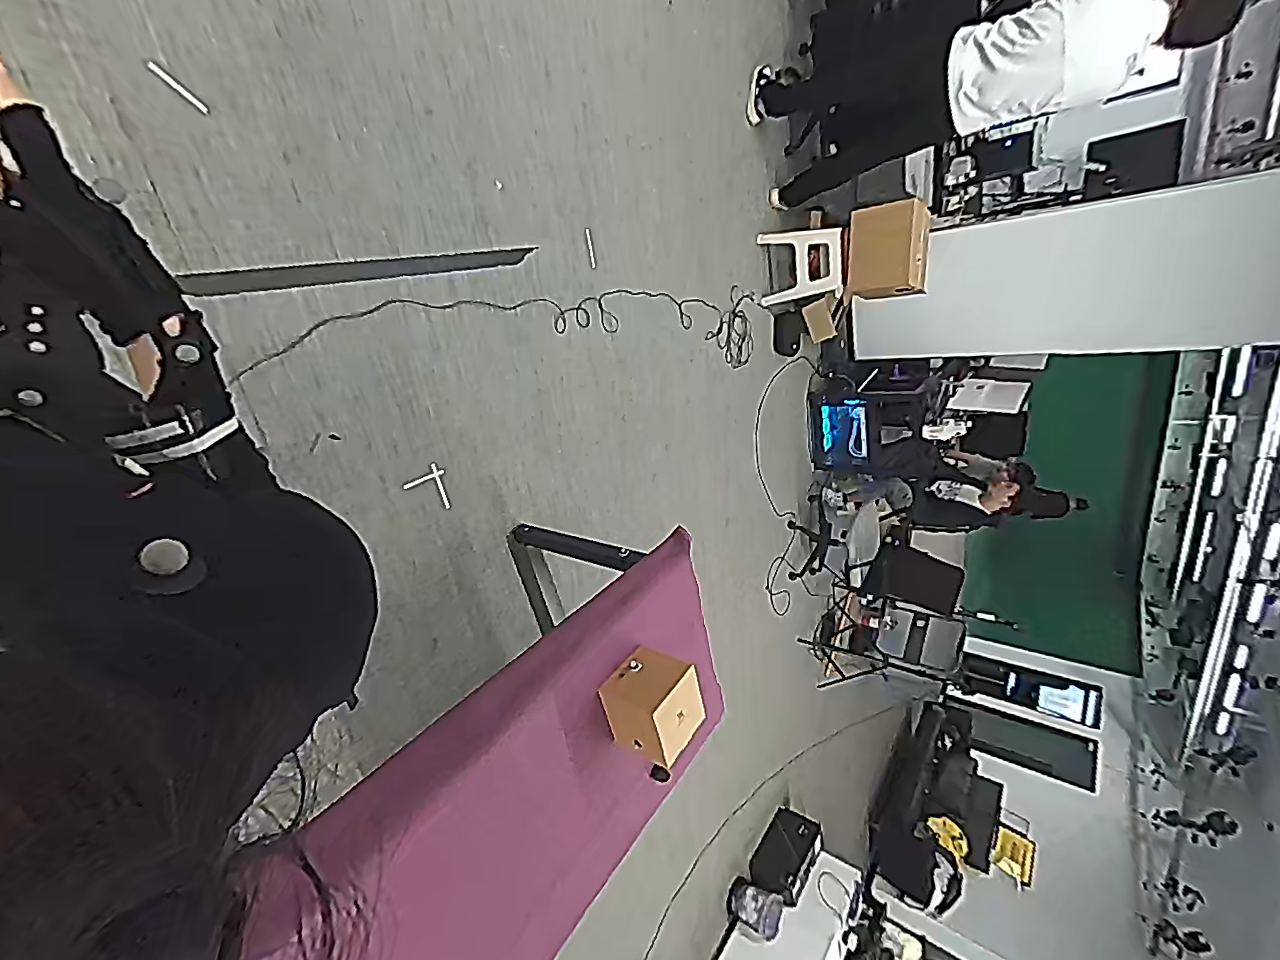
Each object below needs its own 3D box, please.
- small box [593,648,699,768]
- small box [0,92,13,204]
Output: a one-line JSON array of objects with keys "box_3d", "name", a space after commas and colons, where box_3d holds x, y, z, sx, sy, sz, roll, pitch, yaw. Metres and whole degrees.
[{"box_3d": [0.015, 0.531, 1.287, 0.168, 0.176, 0.179, -38, 123, -42], "name": "small box"}, {"box_3d": [-0.488, -0.252, 0.276, 0.179, 0.176, 0.168, -16, 113, -60], "name": "small box"}]
